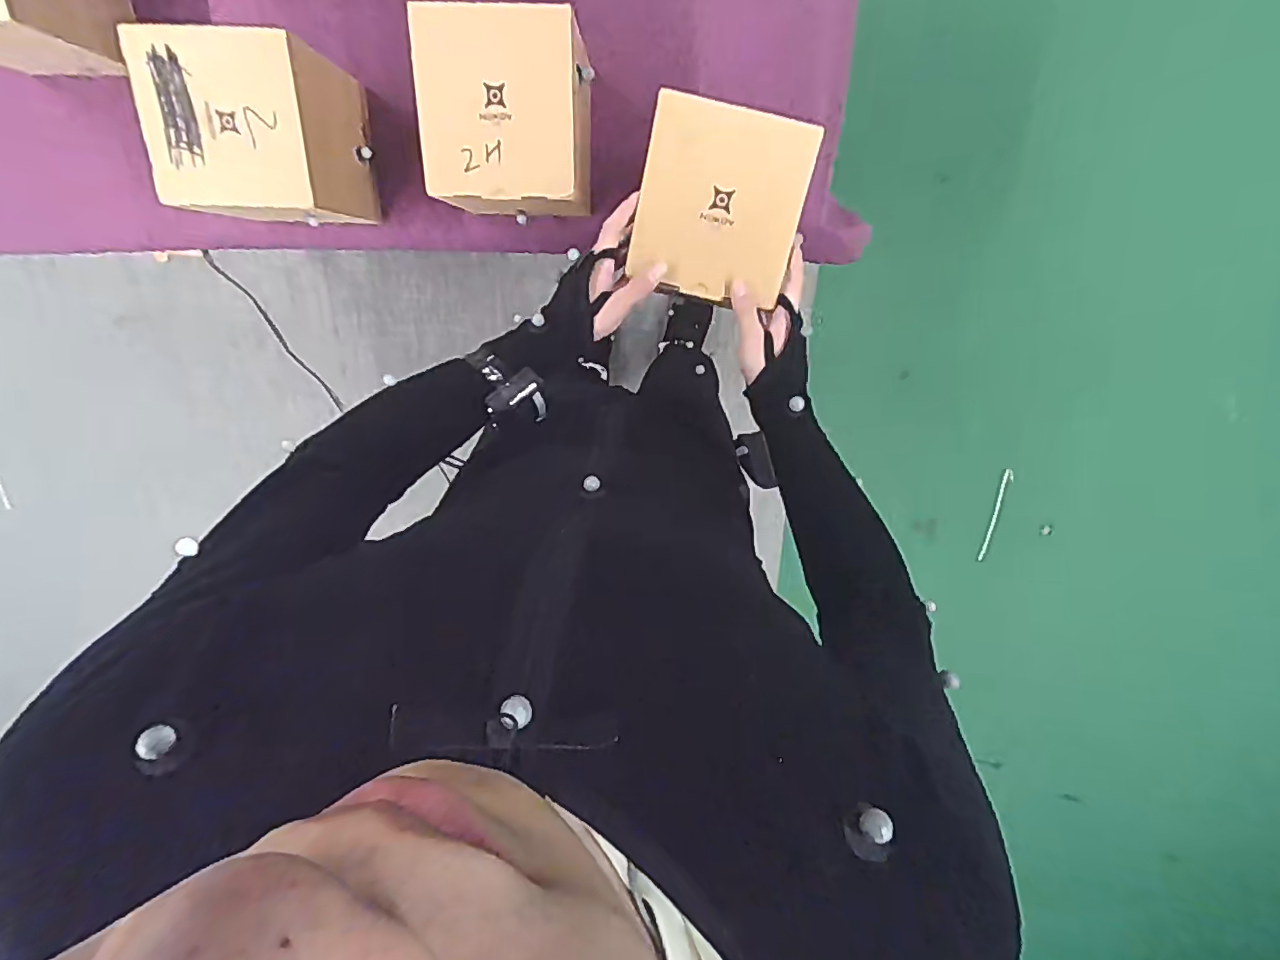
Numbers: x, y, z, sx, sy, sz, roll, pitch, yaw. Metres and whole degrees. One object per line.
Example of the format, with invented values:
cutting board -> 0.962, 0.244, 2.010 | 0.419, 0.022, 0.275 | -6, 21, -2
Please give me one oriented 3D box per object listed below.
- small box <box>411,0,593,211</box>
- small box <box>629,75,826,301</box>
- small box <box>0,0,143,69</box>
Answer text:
small box -> -0.147, -0.426, 0.635 | 0.168, 0.176, 0.179 | 2, 112, 1
small box -> 0.084, -0.311, 0.616 | 0.168, 0.176, 0.179 | 11, 108, -3
small box -> -0.707, -0.580, 0.584 | 0.168, 0.176, 0.179 | 2, 112, 2
